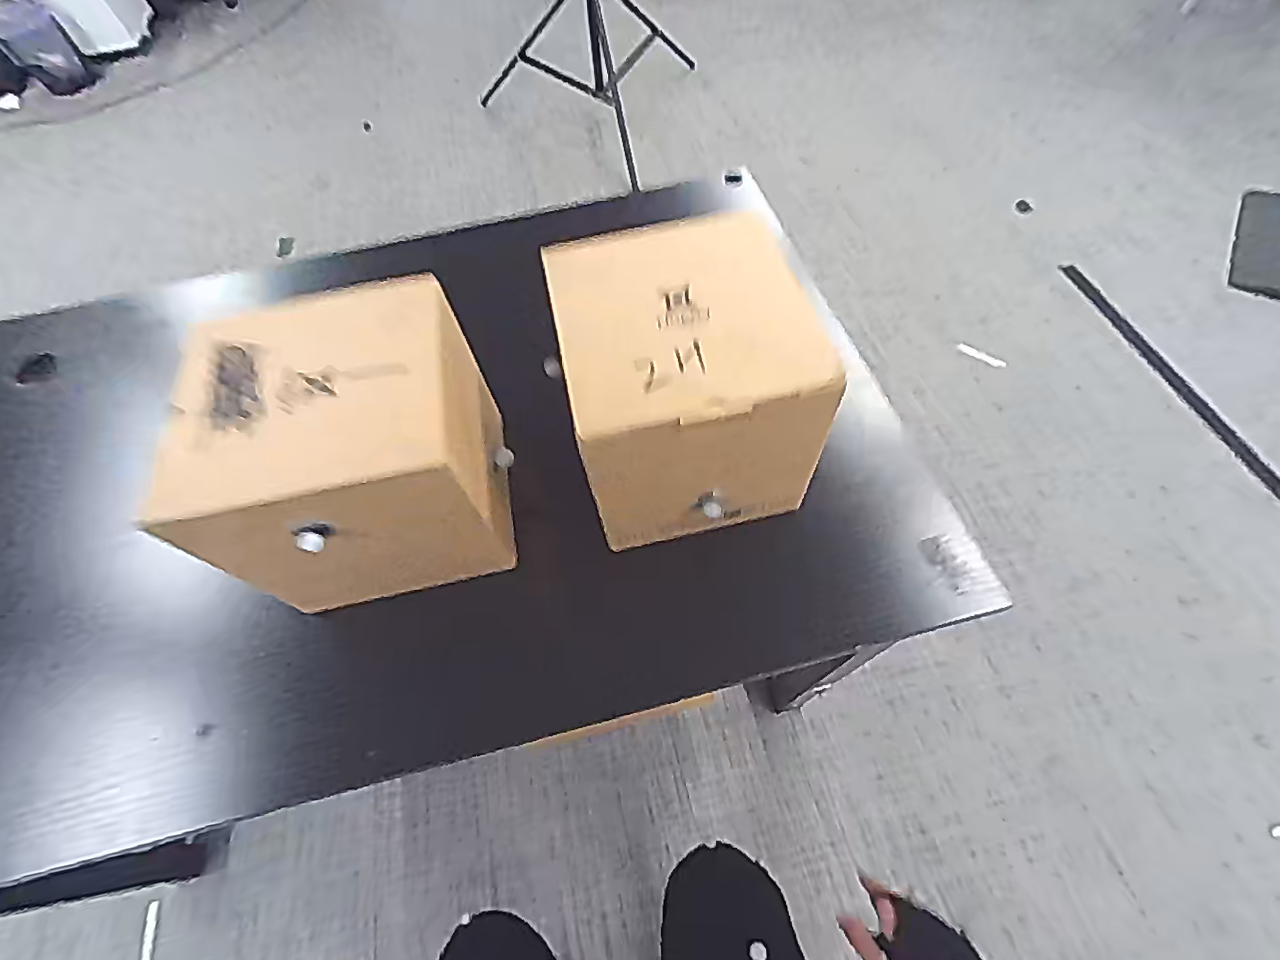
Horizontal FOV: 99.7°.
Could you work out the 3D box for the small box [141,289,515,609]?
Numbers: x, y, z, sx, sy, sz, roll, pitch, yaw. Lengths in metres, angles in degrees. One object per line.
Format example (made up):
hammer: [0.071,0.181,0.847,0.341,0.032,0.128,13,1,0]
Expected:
small box: [-0.208,-0.014,0.418,0.179,0.176,0.168,-12,60,-4]

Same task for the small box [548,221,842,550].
small box: [0.031,-0.067,0.430,0.168,0.176,0.179,-12,60,-2]
